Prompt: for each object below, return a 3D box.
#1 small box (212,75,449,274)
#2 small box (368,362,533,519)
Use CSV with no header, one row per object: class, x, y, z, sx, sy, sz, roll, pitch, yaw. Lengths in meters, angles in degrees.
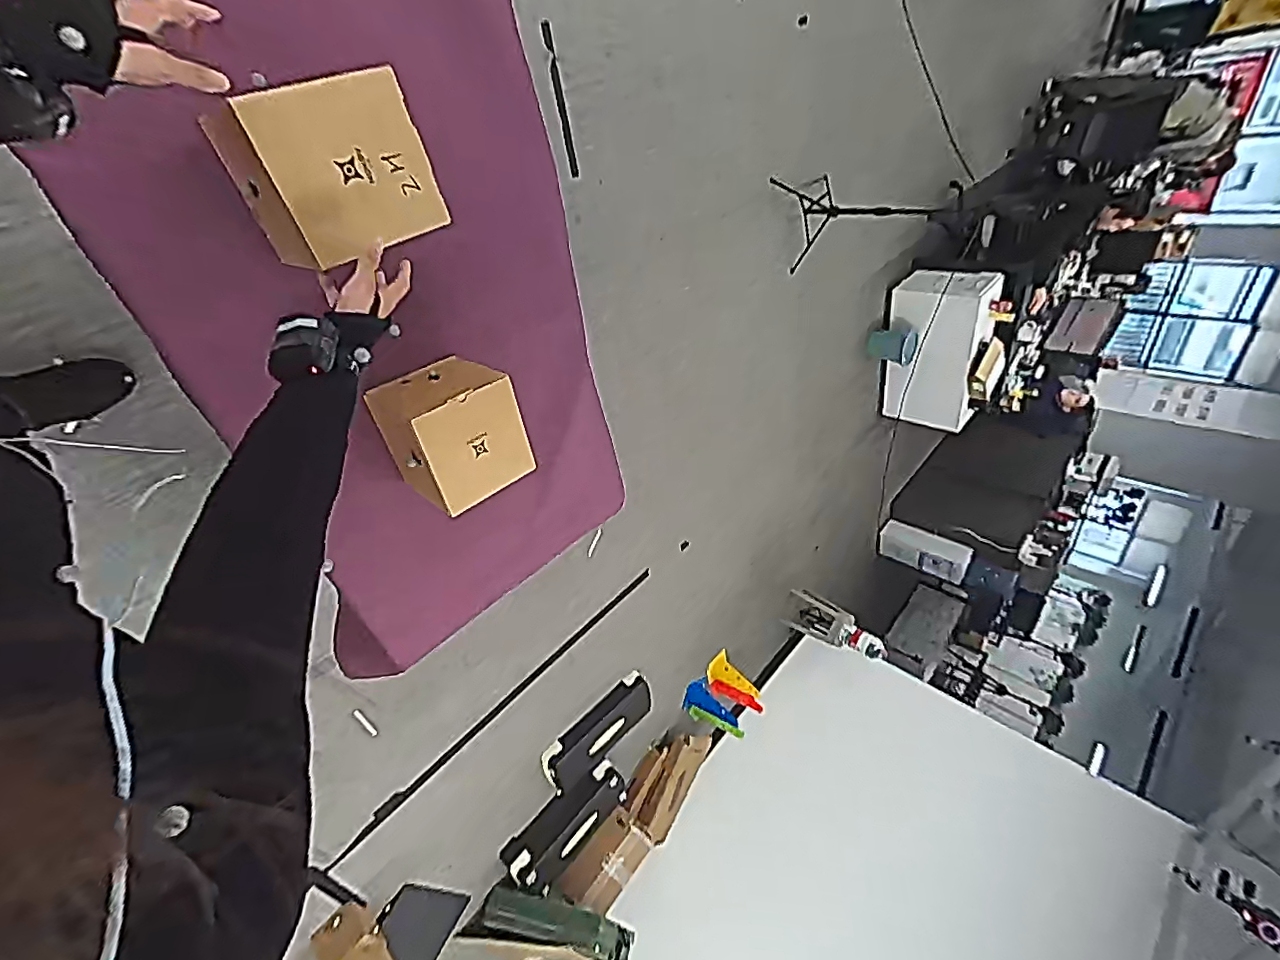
small box,-0.374,-0.364,0.655,0.179,0.176,0.168,-39,134,-29
small box,-0.306,-0.072,0.880,0.168,0.176,0.179,-35,131,-32
